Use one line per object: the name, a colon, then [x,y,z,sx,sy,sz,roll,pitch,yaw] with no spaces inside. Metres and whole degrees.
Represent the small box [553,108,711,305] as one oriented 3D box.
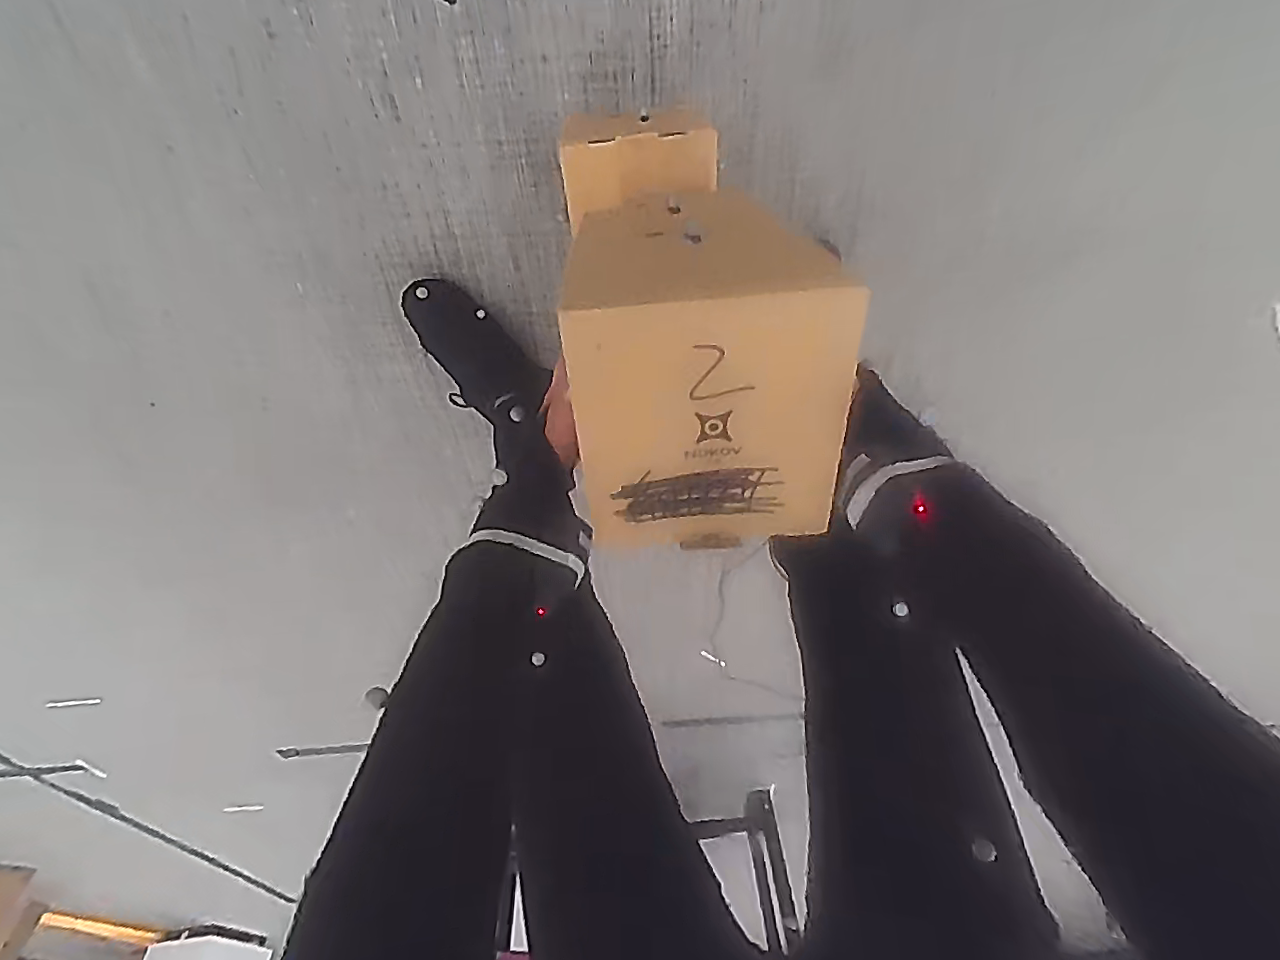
small box: [-0.006,-0.337,0.666,0.168,0.176,0.179,-5,130,1]
